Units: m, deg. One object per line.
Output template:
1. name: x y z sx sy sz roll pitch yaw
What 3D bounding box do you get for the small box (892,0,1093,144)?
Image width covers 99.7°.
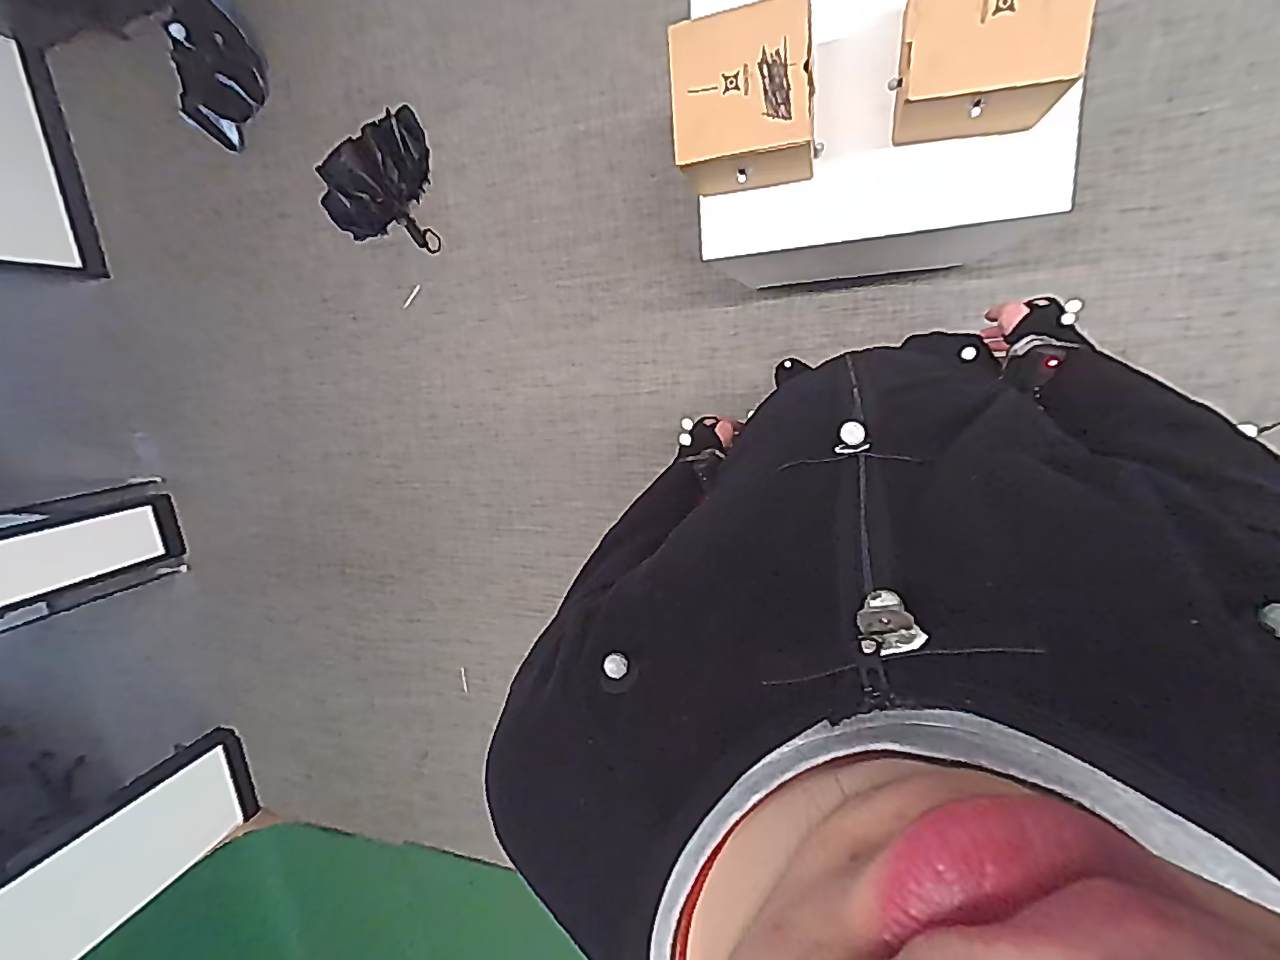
1. small box: 0.413 -0.531 0.657 0.179 0.176 0.168 4 106 18

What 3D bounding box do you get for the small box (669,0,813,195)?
1. small box: 0.148 -0.515 0.753 0.179 0.176 0.168 1 103 20
